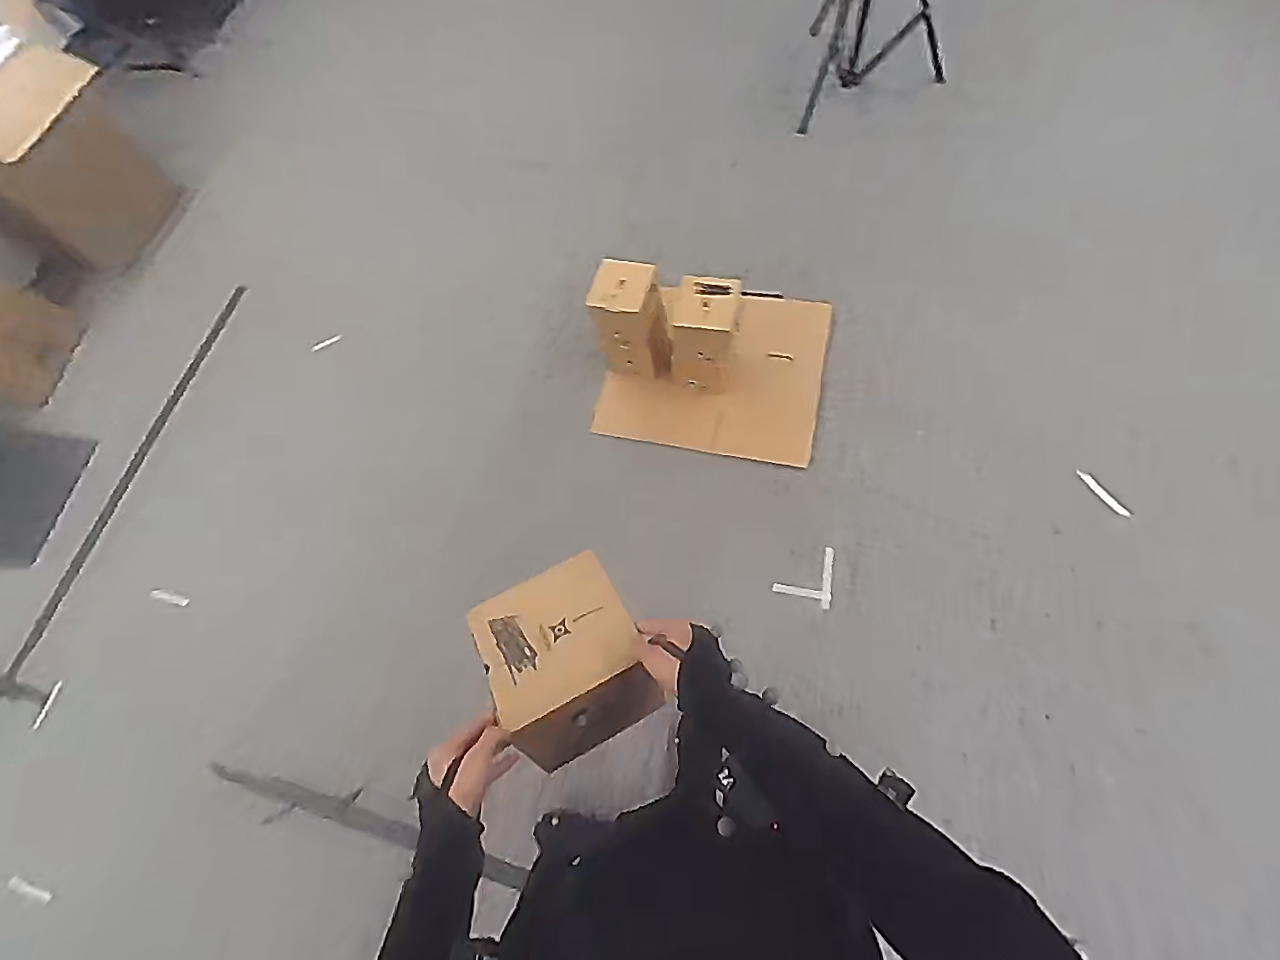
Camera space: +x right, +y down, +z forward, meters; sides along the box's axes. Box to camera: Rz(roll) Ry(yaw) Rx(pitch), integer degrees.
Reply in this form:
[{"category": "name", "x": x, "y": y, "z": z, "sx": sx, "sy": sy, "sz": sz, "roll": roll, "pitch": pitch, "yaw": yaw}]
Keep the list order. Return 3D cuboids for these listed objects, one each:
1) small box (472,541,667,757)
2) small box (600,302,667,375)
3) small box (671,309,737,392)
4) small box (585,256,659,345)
[{"category": "small box", "x": -0.080, "y": 0.214, "z": 0.675, "sx": 0.179, "sy": 0.176, "sz": 0.168, "roll": -25, "pitch": 52, "yaw": -11}, {"category": "small box", "x": -0.014, "y": -0.464, "z": 1.759, "sx": 0.168, "sy": 0.176, "sz": 0.179, "roll": 12, "pitch": 72, "yaw": 13}, {"category": "small box", "x": 0.202, "y": -0.406, "z": 1.704, "sx": 0.168, "sy": 0.176, "sz": 0.179, "roll": 14, "pitch": 71, "yaw": 13}, {"category": "small box", "x": -0.045, "y": -0.532, "z": 1.611, "sx": 0.168, "sy": 0.176, "sz": 0.179, "roll": 13, "pitch": 72, "yaw": 14}]
